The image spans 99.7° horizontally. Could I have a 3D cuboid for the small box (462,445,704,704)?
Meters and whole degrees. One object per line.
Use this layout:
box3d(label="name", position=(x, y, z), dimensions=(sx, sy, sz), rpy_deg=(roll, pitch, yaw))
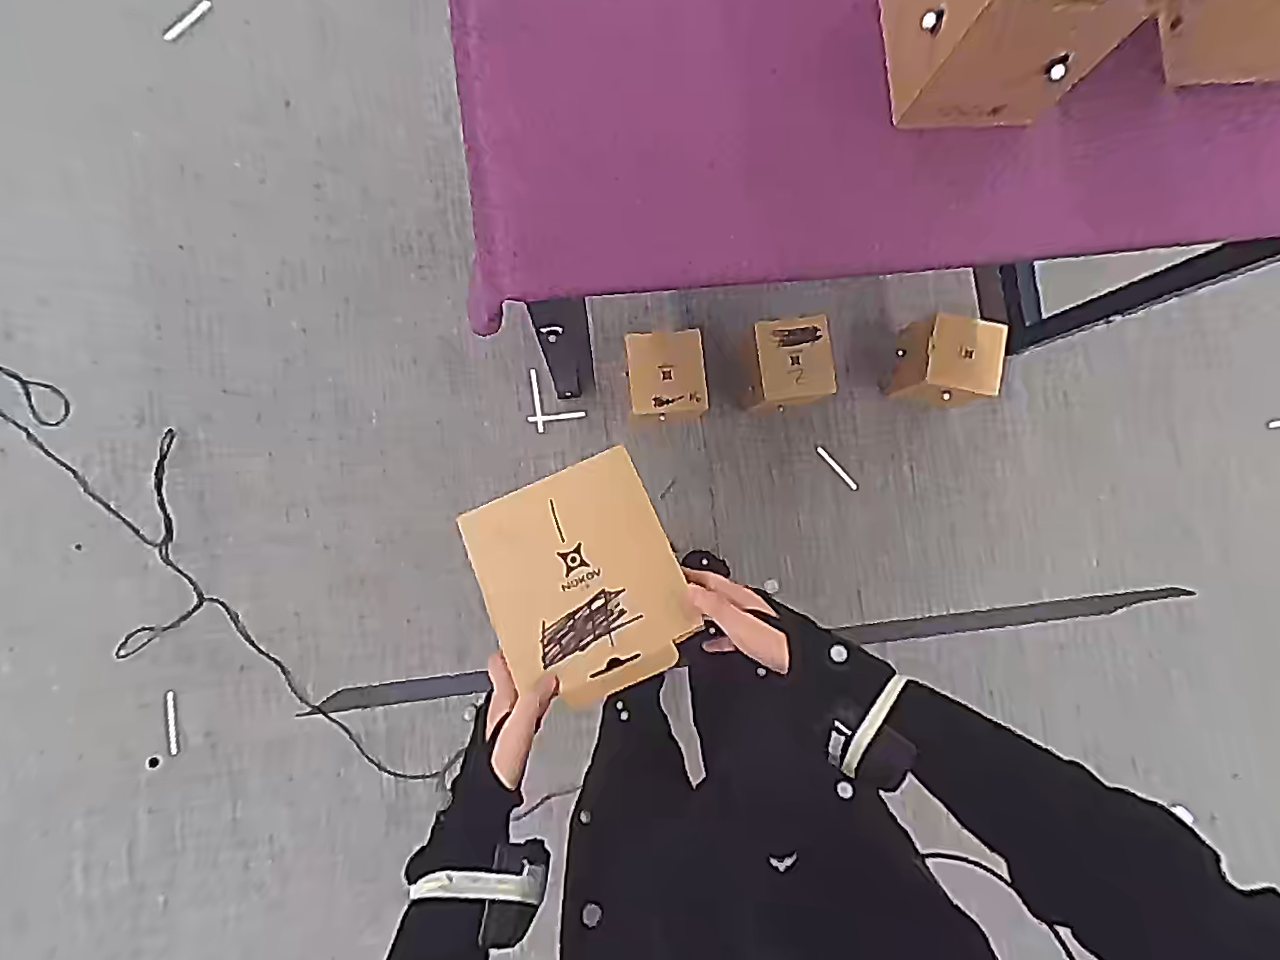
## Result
box3d(label="small box", position=(-0.045, 0.093, 0.540), dimensions=(0.168, 0.176, 0.179), rpy_deg=(-24, 76, -2))

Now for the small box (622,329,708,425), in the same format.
box3d(label="small box", position=(0.050, -0.229, 1.231), dimensions=(0.168, 0.176, 0.179), rpy_deg=(-5, 87, -5))

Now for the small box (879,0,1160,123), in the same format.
box3d(label="small box", position=(0.362, -0.487, 0.535), dimensions=(0.168, 0.176, 0.179), rpy_deg=(-5, 86, -6))

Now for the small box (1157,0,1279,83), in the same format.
box3d(label="small box", position=(0.703, -0.553, 0.564), dimensions=(0.179, 0.176, 0.168), rpy_deg=(-5, 87, -4))

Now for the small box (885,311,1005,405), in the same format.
box3d(label="small box", position=(0.719, -0.280, 1.288), dimensions=(0.179, 0.176, 0.168), rpy_deg=(10, 87, -3))
